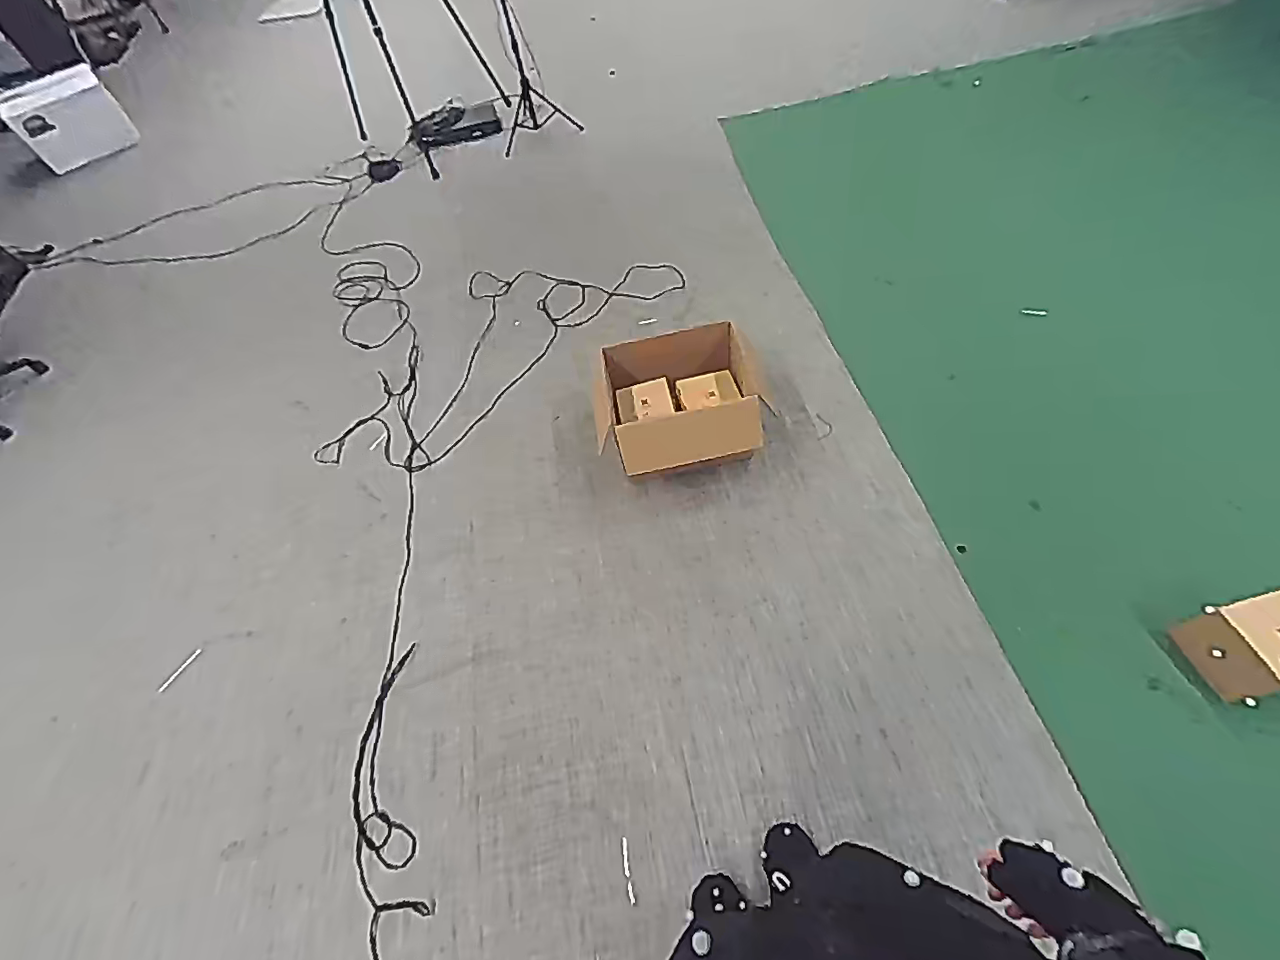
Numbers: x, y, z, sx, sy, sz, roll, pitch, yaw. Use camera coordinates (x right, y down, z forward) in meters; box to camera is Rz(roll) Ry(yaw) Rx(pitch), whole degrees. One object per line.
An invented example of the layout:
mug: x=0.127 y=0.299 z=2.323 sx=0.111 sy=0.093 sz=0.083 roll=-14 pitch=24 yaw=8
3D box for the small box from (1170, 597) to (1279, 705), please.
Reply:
small box: x=1.354 y=0.381 z=1.188 sx=0.168 sy=0.176 sz=0.179 roll=-15 pitch=56 yaw=-1
